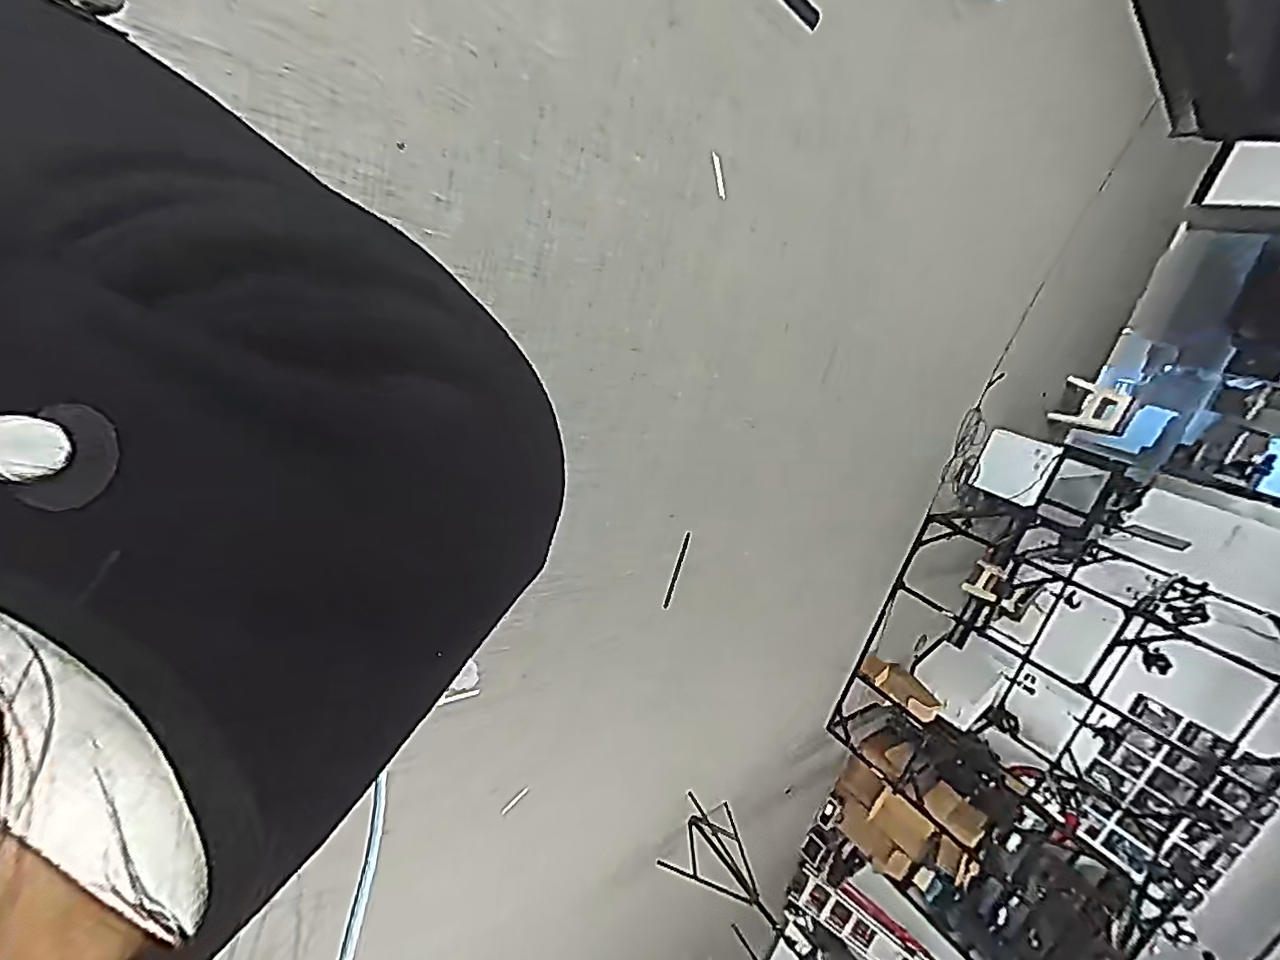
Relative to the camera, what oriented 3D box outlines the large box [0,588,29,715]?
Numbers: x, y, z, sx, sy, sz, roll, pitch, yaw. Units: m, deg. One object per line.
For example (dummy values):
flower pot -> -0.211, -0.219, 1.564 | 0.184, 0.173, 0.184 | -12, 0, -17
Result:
large box -> -0.711, 0.031, 0.313 | 0.320, 0.320, 0.408 | -34, 143, -37
